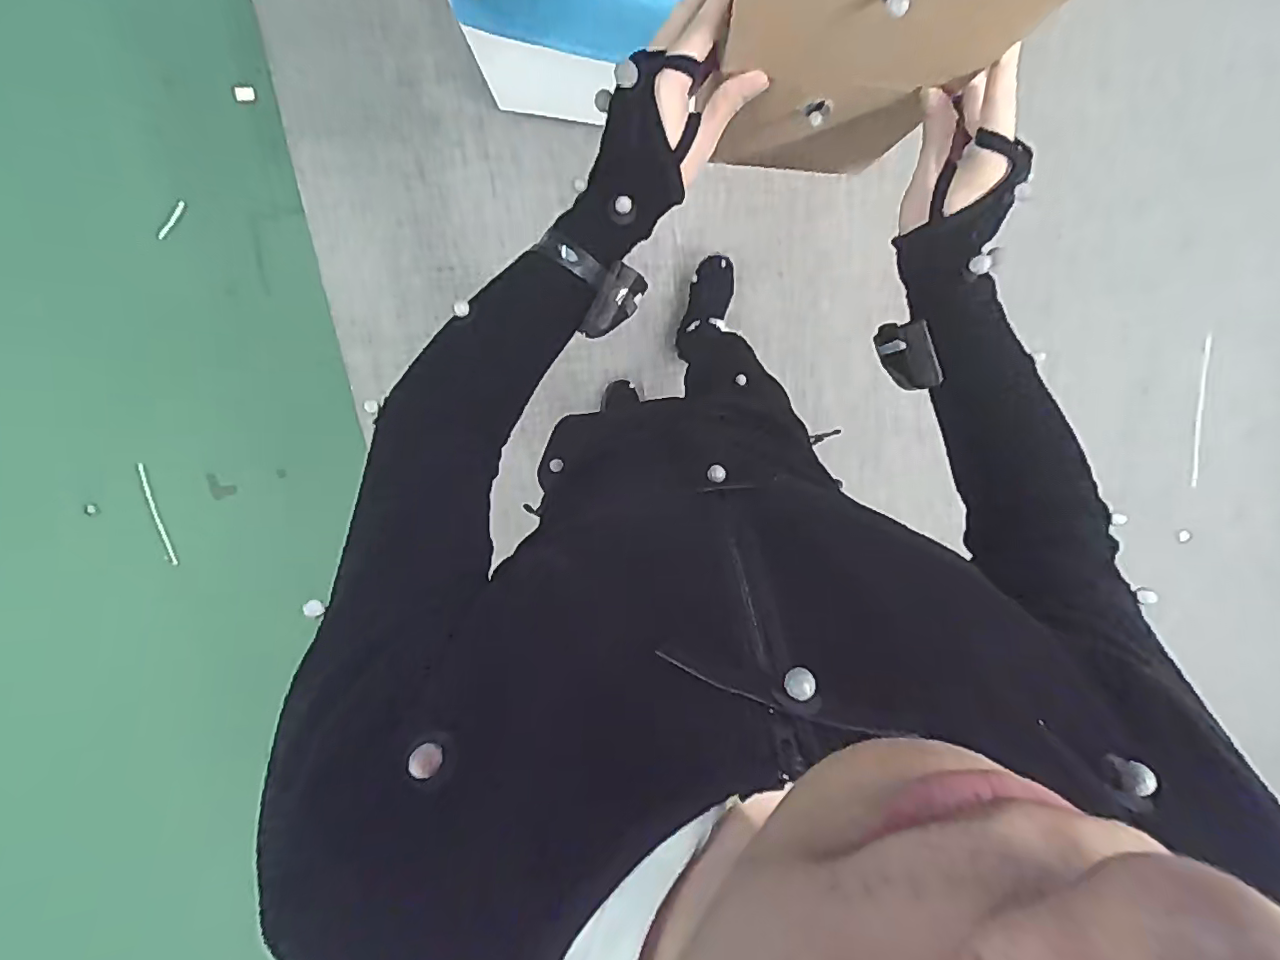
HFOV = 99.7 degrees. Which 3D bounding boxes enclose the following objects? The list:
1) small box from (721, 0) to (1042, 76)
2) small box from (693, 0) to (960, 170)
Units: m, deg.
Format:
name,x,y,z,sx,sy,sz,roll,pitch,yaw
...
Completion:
name,x,y,z,sx,sy,sz,roll,pitch,yaw
small box,0.150,-0.352,0.289,0.179,0.176,0.168,3,100,-2
small box,0.144,-0.381,0.449,0.179,0.176,0.168,4,100,-4
